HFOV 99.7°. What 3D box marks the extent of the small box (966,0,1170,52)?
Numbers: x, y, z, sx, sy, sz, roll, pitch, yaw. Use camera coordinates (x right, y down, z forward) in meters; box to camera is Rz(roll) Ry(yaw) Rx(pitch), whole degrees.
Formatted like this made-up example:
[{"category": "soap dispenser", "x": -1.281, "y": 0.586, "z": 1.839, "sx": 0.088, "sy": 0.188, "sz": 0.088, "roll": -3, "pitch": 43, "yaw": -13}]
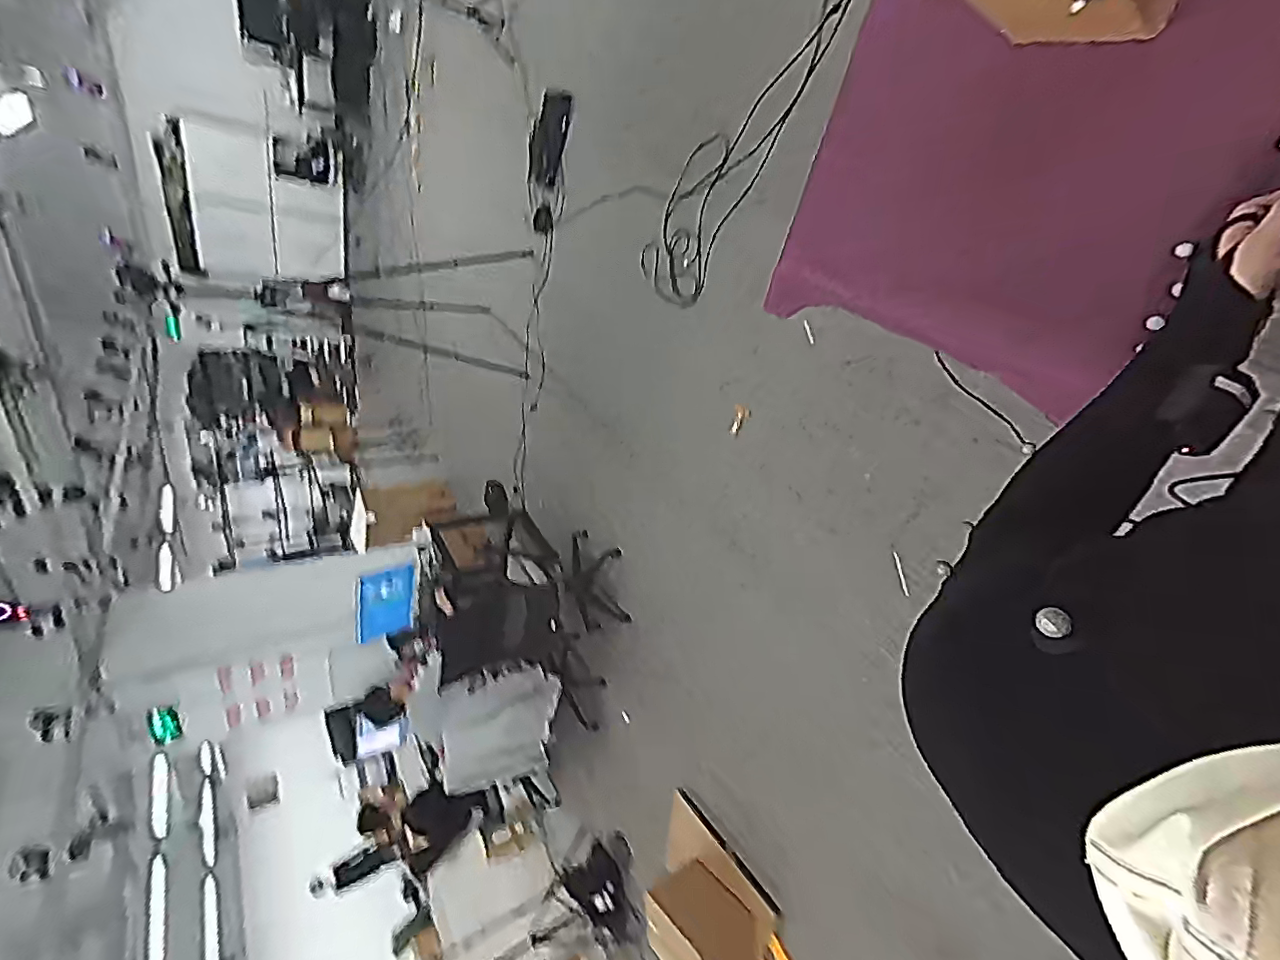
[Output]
[{"category": "small box", "x": 0.523, "y": -0.631, "z": 0.634, "sx": 0.179, "sy": 0.176, "sz": 0.168, "roll": 41, "pitch": 127, "yaw": 41}]
